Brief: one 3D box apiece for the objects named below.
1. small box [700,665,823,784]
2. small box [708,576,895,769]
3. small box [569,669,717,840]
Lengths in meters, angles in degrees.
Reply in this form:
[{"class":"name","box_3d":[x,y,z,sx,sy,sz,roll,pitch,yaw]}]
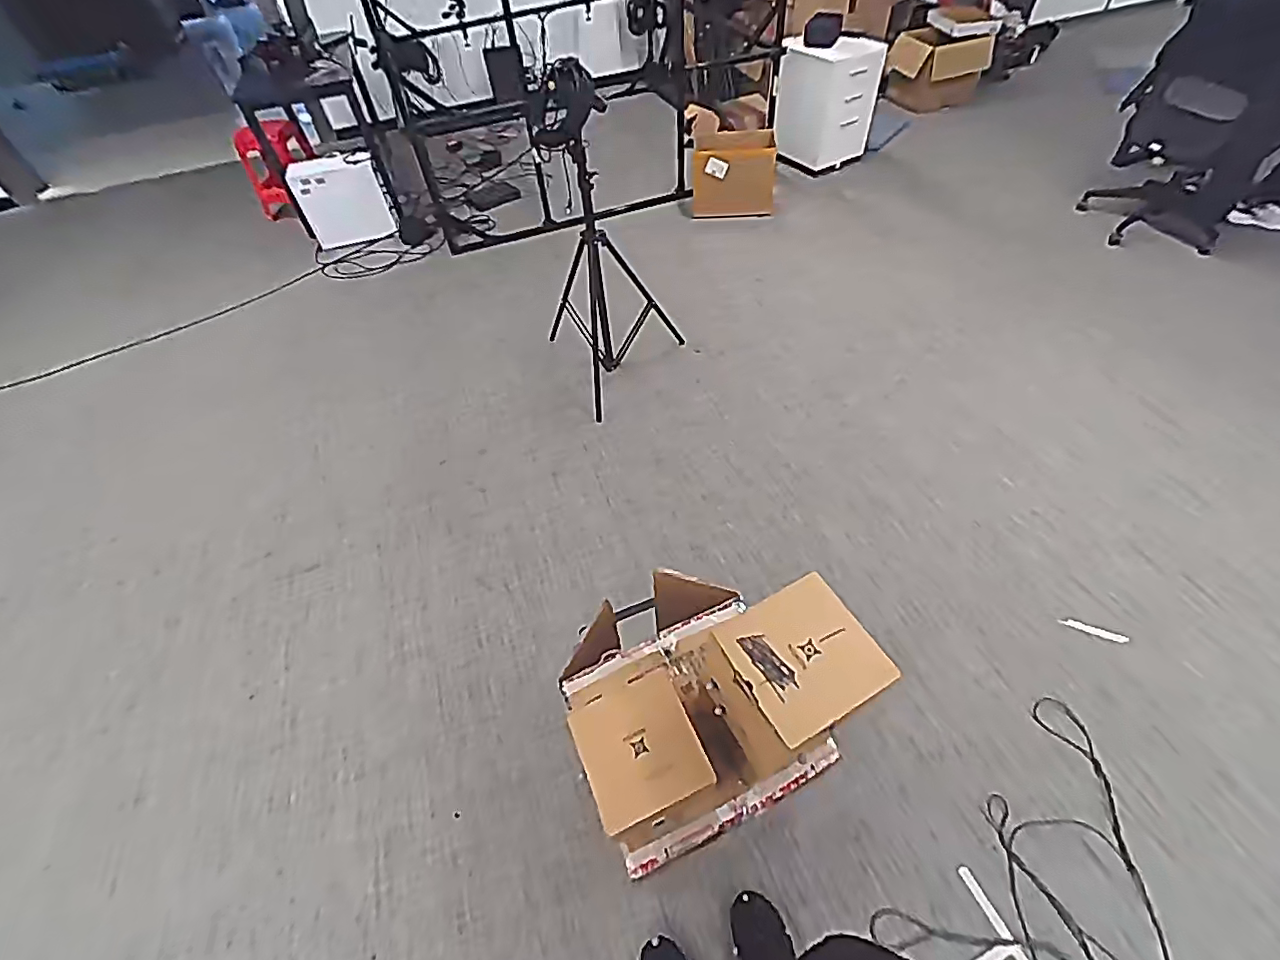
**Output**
[{"class":"small box","box_3d":[0.212,0.365,0.885,0.179,0.176,0.168,-25,56,-16]},{"class":"small box","box_3d":[0.207,0.271,0.749,0.179,0.176,0.168,-25,56,-16]},{"class":"small box","box_3d":[0.005,0.433,0.847,0.168,0.176,0.179,-23,56,-11]}]
